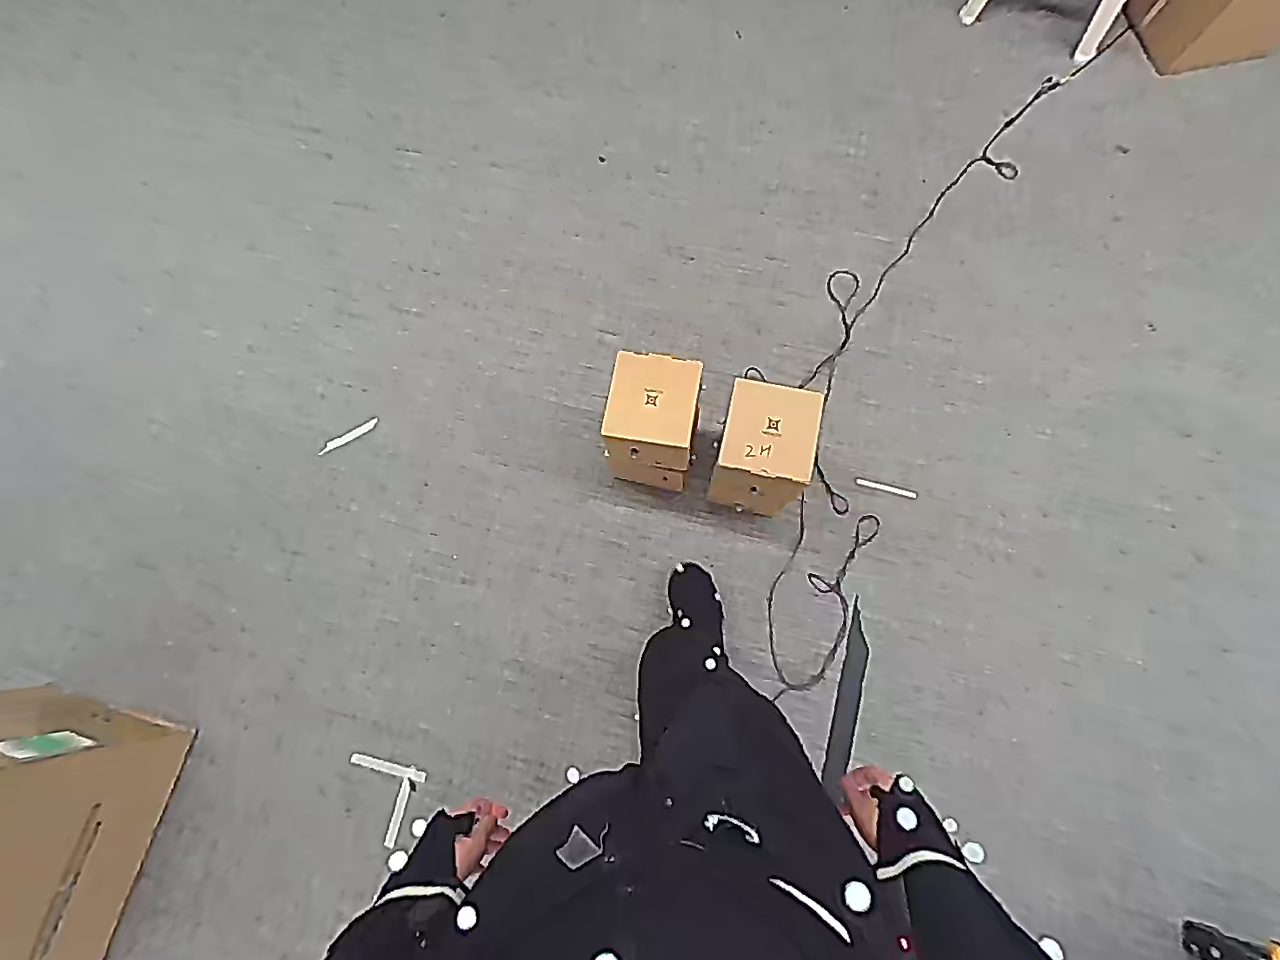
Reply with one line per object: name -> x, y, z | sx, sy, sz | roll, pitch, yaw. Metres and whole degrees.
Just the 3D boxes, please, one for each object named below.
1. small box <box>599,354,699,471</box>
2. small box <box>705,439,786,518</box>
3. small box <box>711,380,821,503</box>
small box -> 0.023, -0.127, 1.084 | 0.168, 0.176, 0.179 | 9, 75, 6
small box -> 0.246, -0.028, 1.212 | 0.168, 0.176, 0.179 | 14, 78, 7
small box -> 0.237, -0.068, 1.053 | 0.168, 0.176, 0.179 | 12, 77, 7
